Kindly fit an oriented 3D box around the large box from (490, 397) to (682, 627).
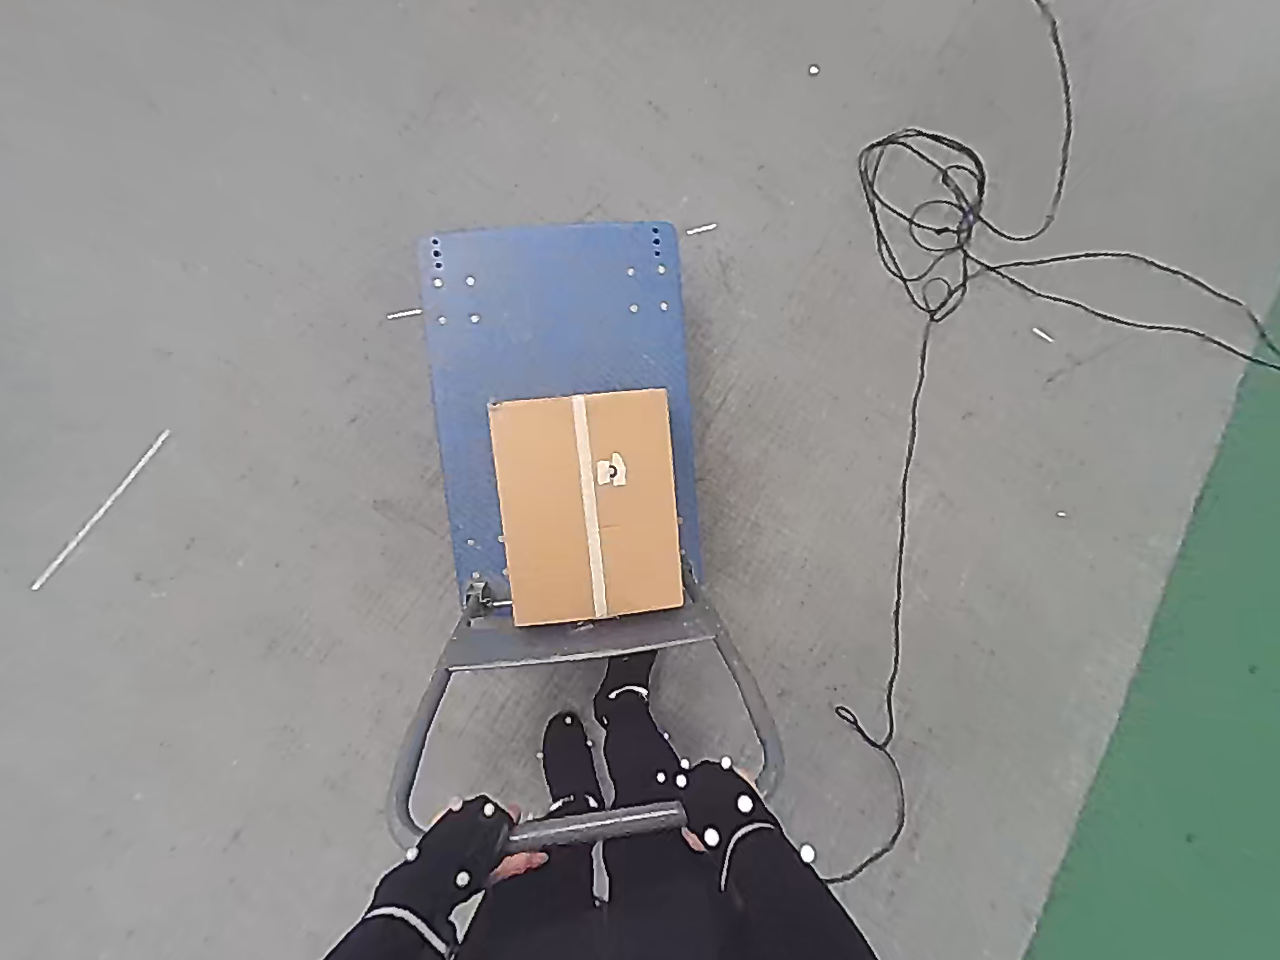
[{"bbox_3d":[-0.105,0.047,1.135,0.320,0.320,0.408,-6,97,-5],"label":"large box"}]
